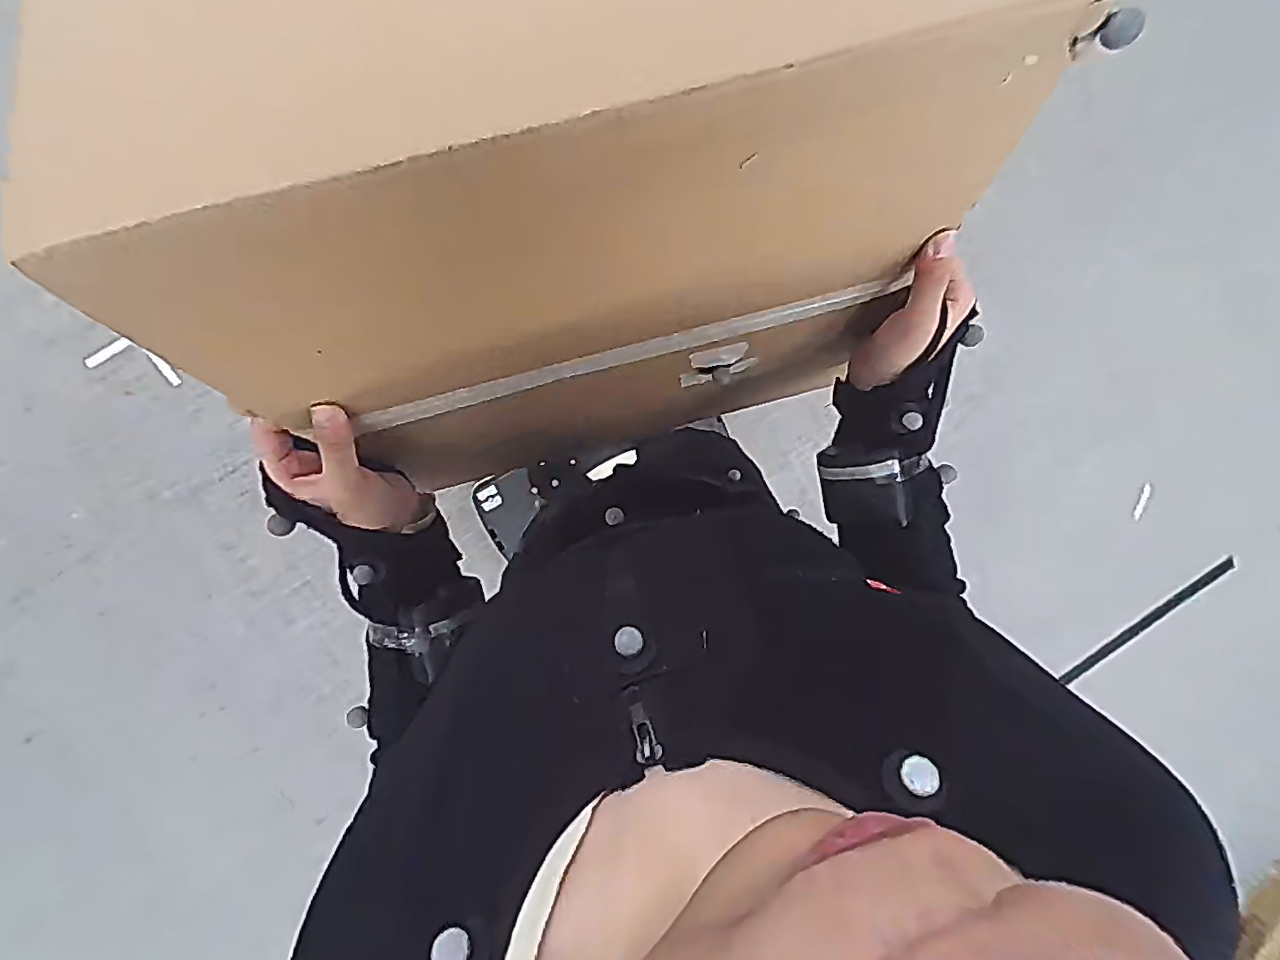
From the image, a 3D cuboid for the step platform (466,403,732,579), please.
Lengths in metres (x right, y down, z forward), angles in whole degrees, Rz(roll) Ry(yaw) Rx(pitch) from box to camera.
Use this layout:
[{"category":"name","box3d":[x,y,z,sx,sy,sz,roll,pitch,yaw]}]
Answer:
[{"category":"step platform","box3d":[-0.103,-0.008,1.442,0.684,0.204,0.286,-26,100,-4]}]

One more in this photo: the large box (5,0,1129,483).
[{"category":"large box","box3d":[-0.041,-0.232,0.355,0.408,0.320,0.320,-16,74,-2]}]
